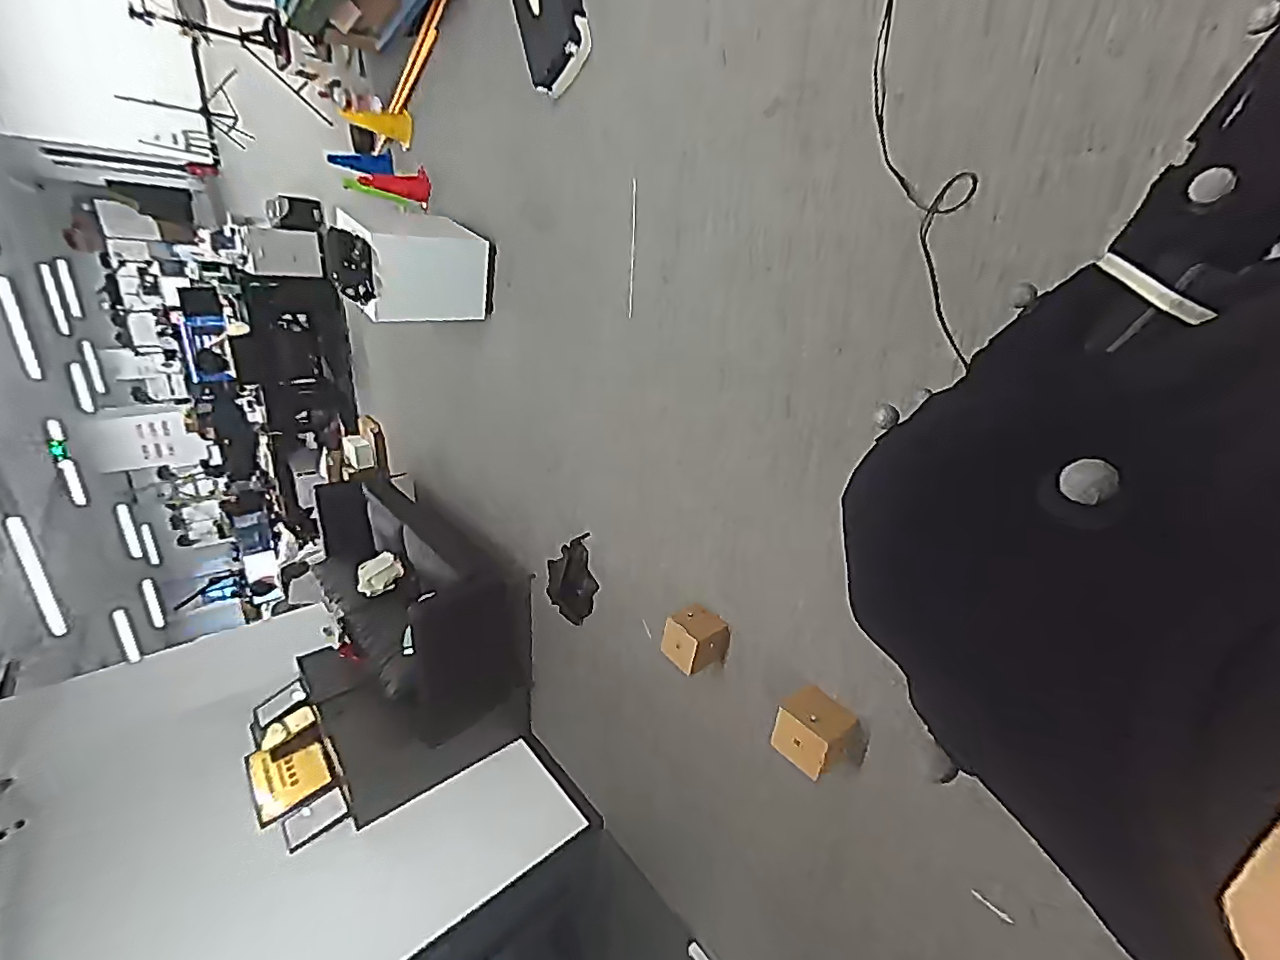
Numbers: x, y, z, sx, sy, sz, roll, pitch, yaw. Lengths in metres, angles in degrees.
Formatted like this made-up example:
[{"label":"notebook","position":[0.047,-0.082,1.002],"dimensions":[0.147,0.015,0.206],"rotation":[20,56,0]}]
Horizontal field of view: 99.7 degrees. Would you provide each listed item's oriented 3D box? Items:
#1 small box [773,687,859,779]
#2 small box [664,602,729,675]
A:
[{"label":"small box","position":[0.552,0.782,1.698],"dimensions":[0.179,0.176,0.168],"rotation":[29,122,42]},{"label":"small box","position":[0.215,0.592,2.051],"dimensions":[0.168,0.176,0.179],"rotation":[34,127,41]}]
